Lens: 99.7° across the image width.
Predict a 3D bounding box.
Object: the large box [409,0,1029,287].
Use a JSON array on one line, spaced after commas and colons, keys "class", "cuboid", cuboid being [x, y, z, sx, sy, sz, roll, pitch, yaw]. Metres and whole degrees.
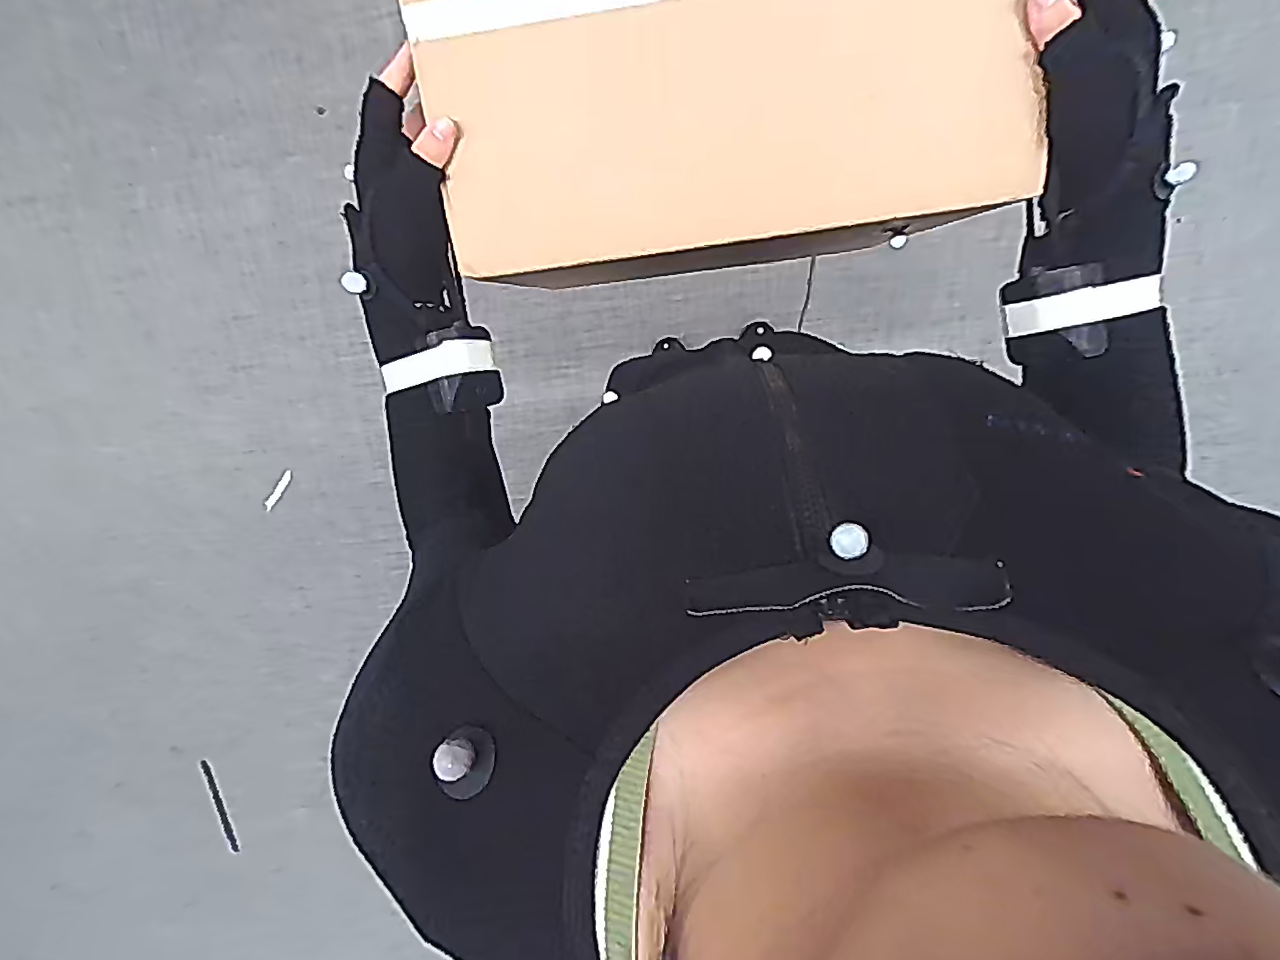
[{"class": "large box", "cuboid": [0.053, -0.364, 0.487, 0.408, 0.320, 0.320, -6, 107, 4]}]
